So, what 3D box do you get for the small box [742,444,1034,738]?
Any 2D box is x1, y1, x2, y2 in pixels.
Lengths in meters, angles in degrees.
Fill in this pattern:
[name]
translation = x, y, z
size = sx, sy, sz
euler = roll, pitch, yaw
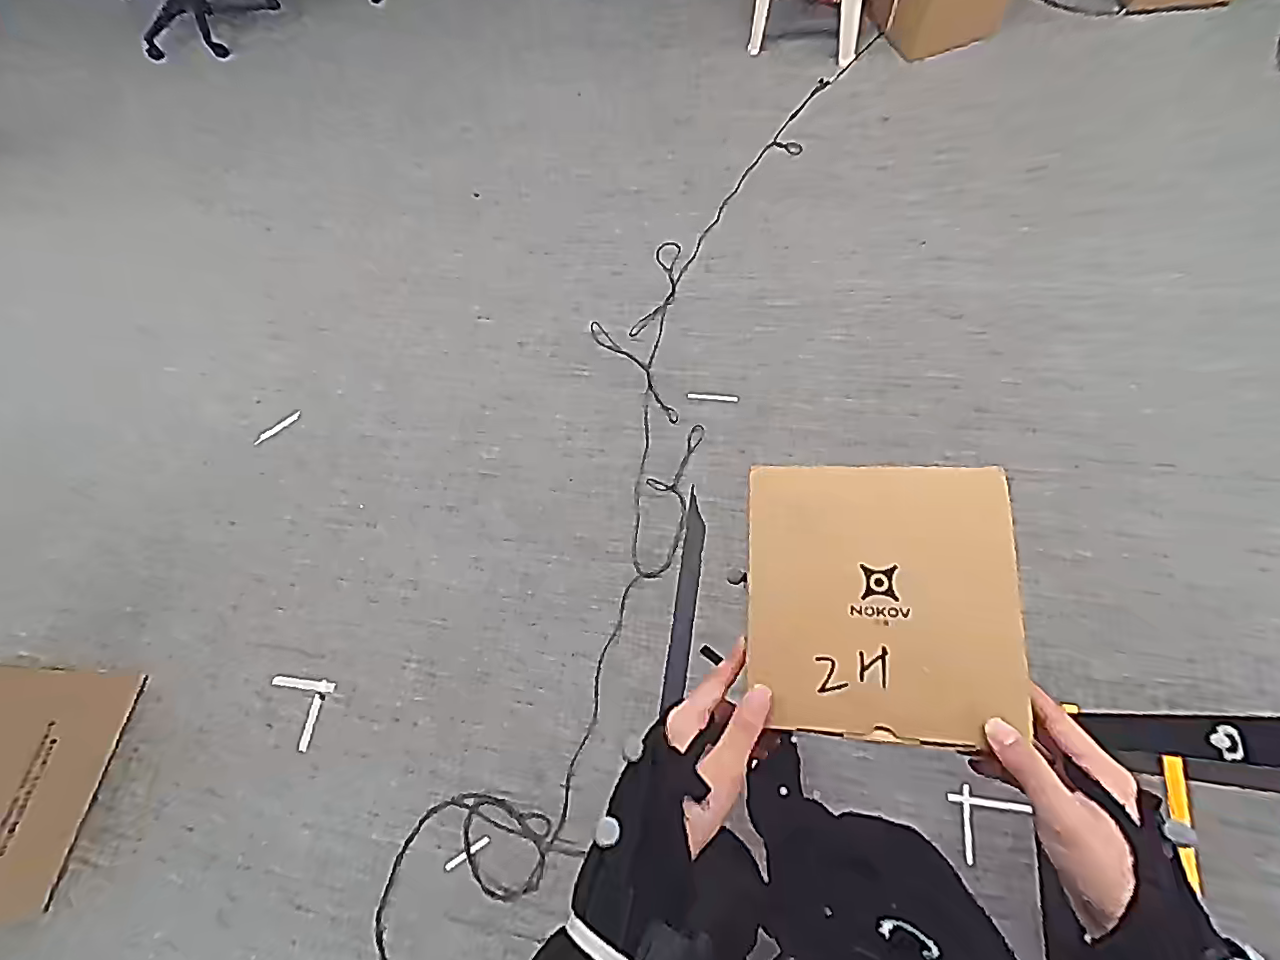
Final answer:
[small box]
translation = 0.165, 0.081, 0.418
size = 0.168, 0.176, 0.179
euler = 1, 76, 12
